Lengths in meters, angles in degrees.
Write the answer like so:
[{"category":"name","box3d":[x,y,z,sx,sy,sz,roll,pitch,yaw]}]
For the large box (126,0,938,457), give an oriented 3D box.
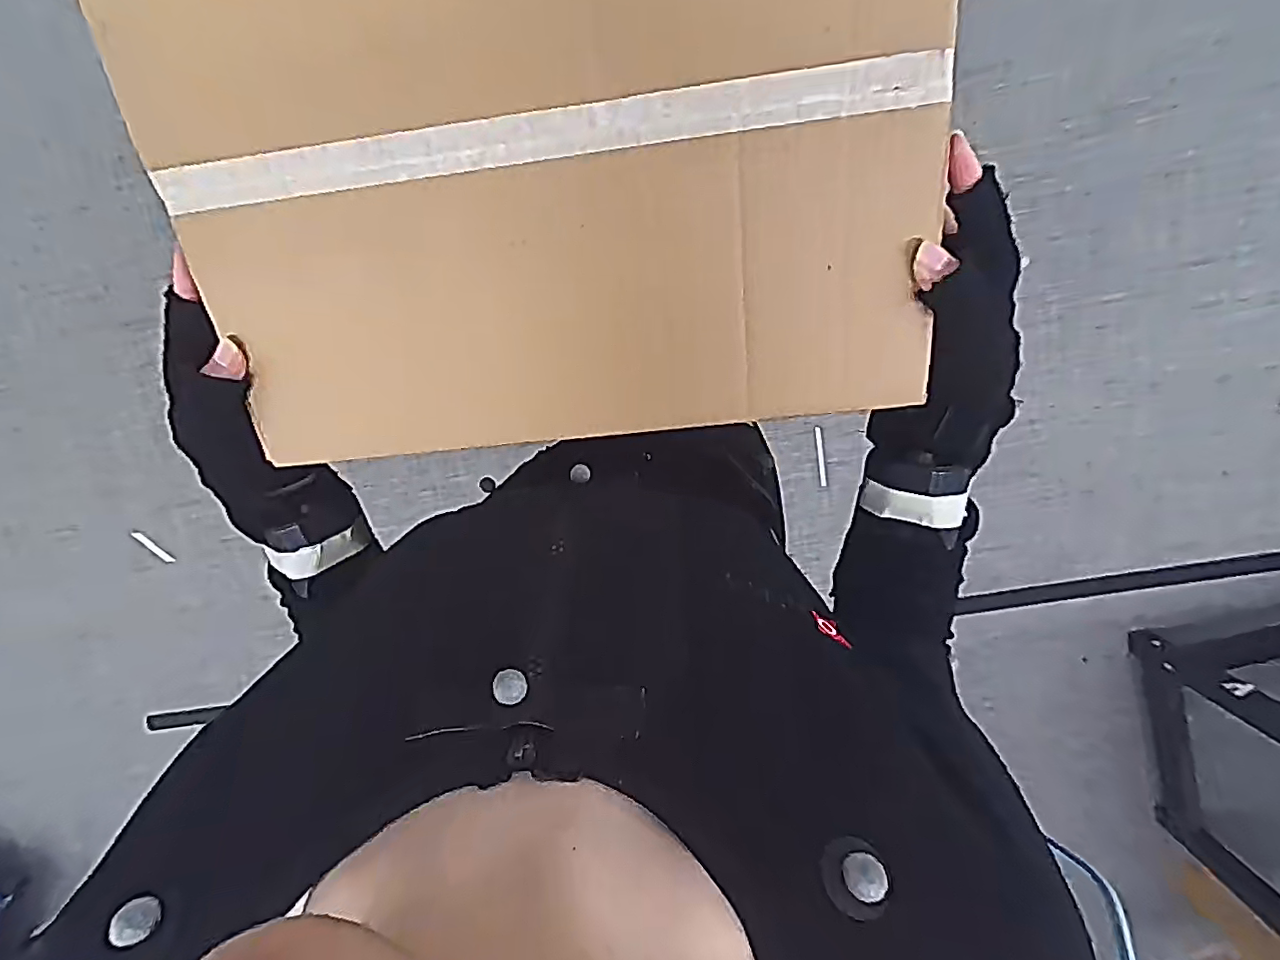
[{"category":"large box","box3d":[-0.046,-0.230,0.425,0.408,0.320,0.320,-6,112,5]}]
